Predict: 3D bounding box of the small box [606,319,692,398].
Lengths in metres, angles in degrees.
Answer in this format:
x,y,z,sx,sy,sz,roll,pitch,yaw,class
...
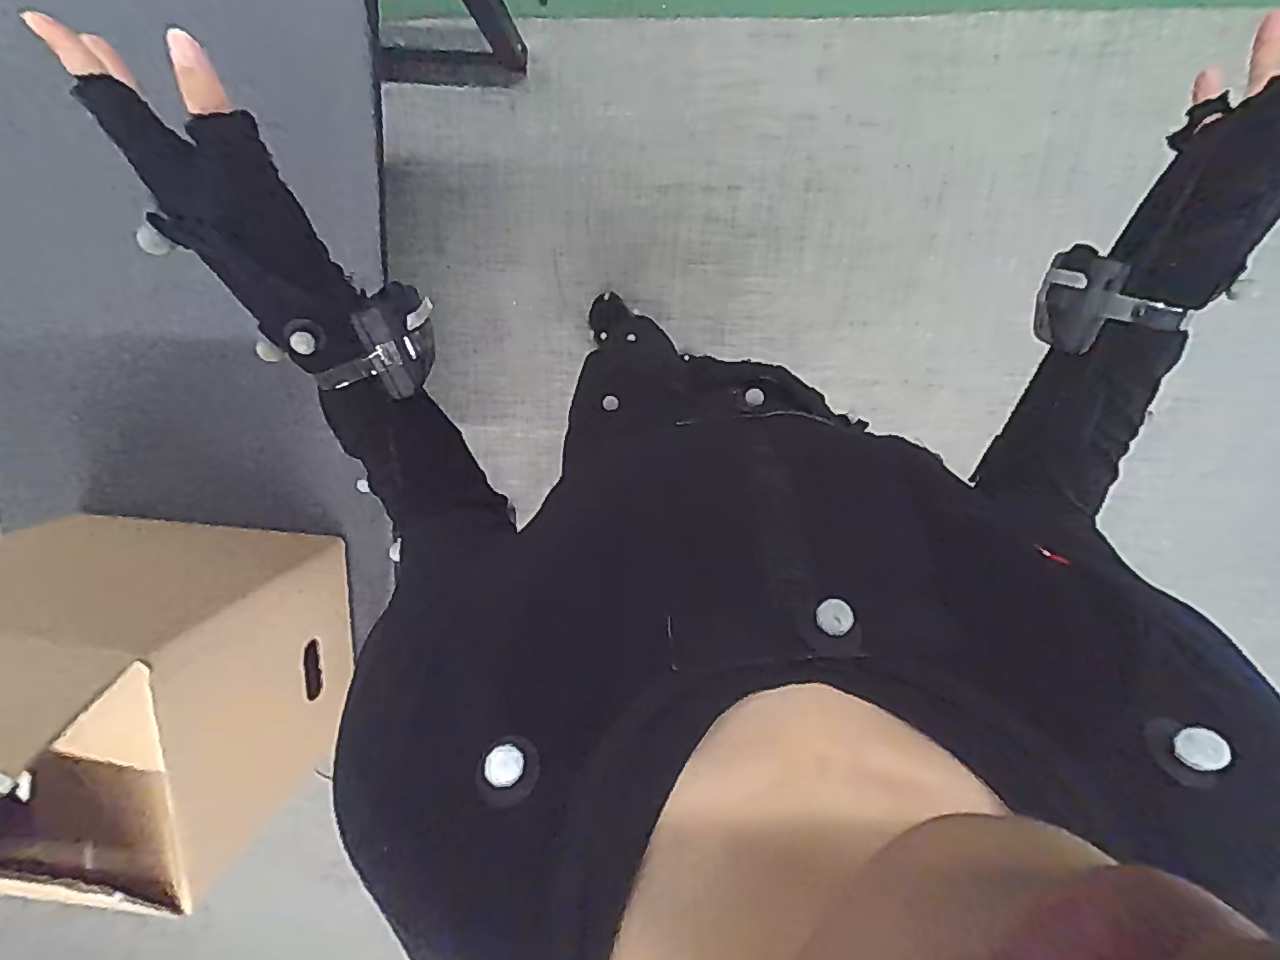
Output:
x,y,z,sx,sy,sz,roll,pitch,yaw,class
0.017,-0.306,1.350,0.168,0.176,0.179,-5,109,-19,small box
